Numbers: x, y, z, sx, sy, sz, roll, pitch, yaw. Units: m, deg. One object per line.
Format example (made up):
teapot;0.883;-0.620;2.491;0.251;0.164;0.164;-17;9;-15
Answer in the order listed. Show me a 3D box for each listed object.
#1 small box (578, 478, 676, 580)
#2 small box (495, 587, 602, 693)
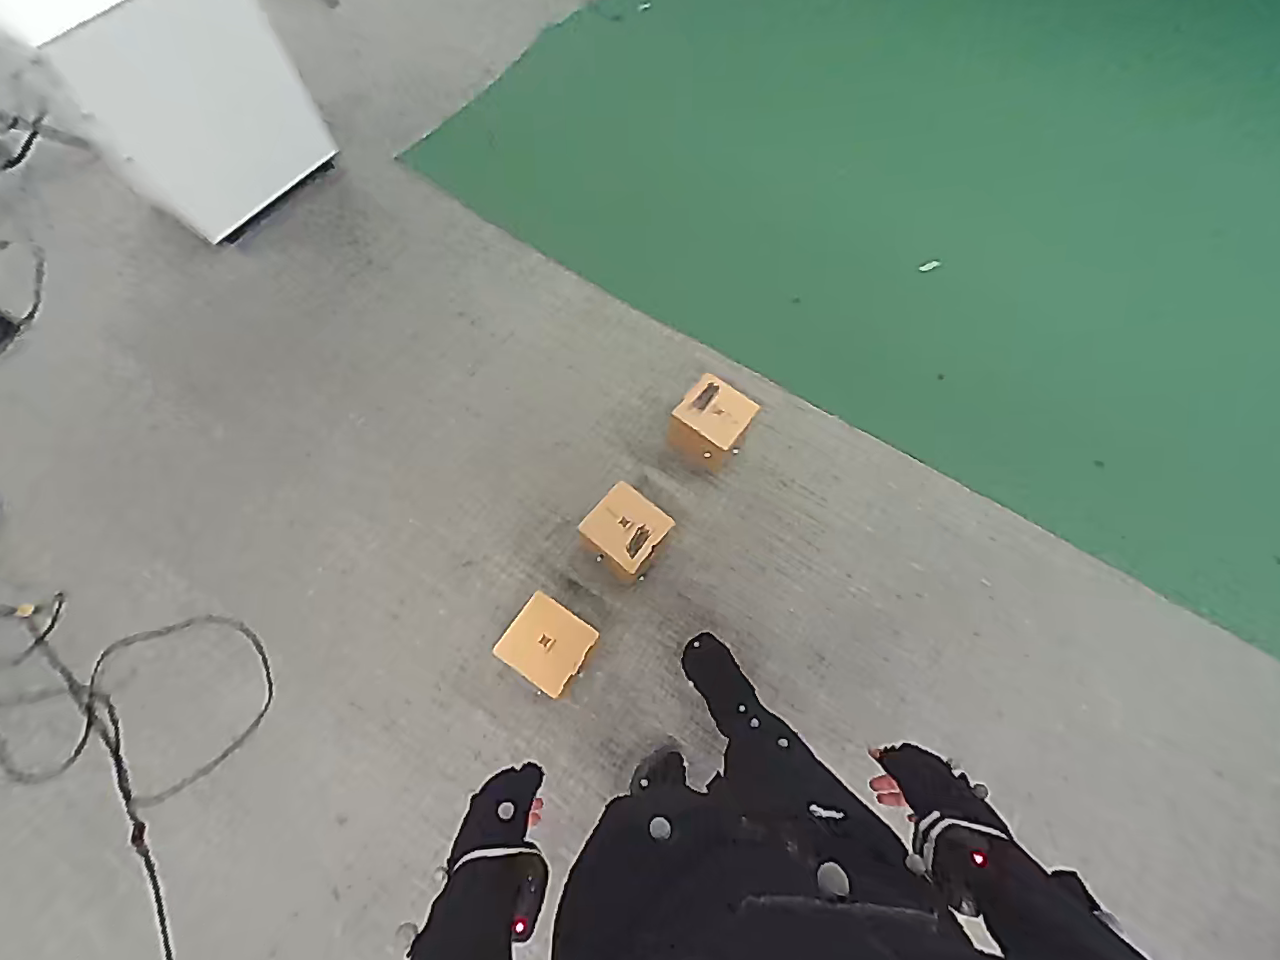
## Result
small box;-0.031;0.131;1.350;0.179;0.176;0.168;38;72;13
small box;-0.203;0.375;1.251;0.179;0.176;0.168;33;72;10
